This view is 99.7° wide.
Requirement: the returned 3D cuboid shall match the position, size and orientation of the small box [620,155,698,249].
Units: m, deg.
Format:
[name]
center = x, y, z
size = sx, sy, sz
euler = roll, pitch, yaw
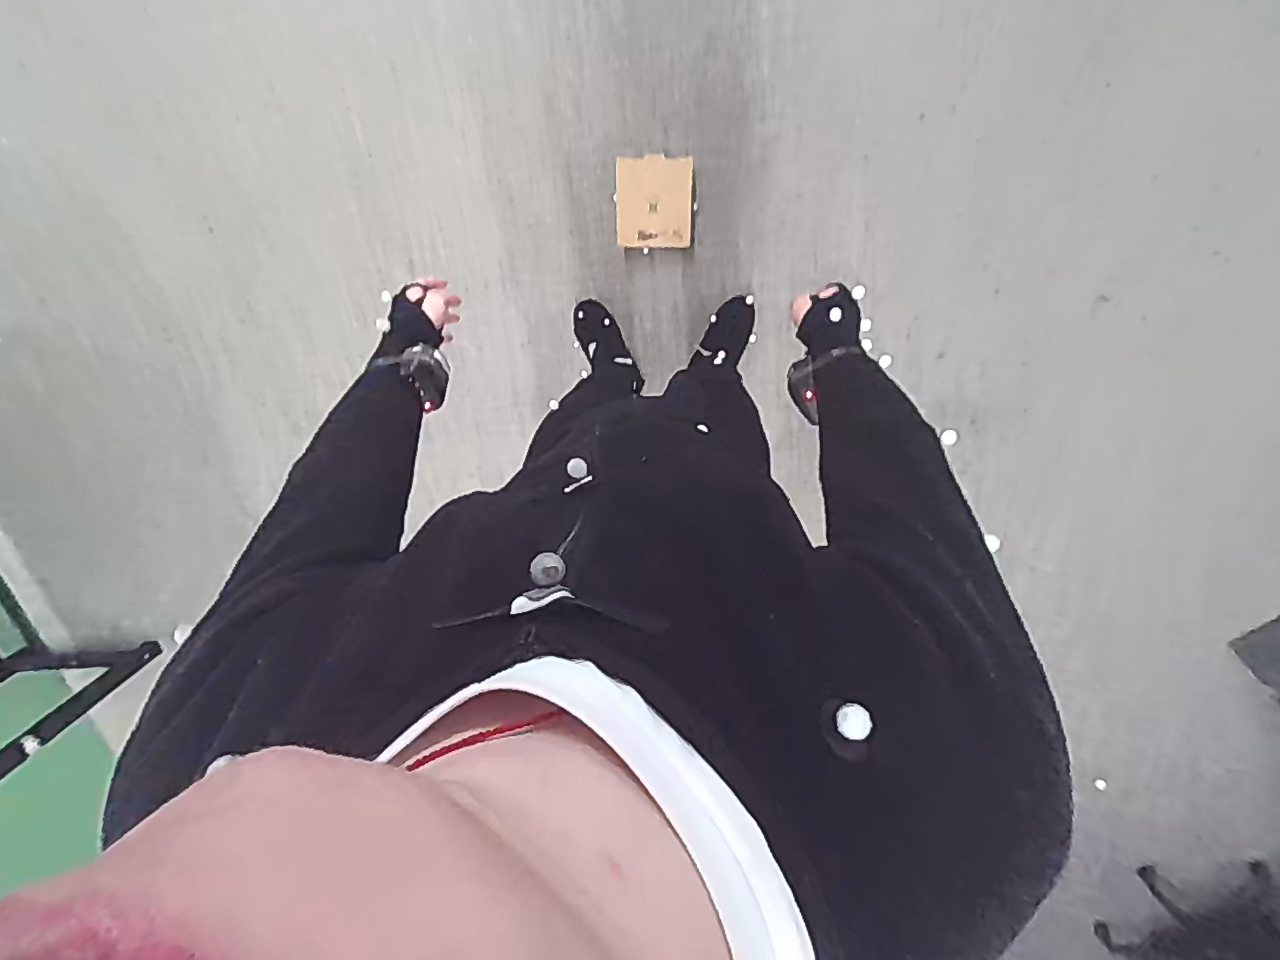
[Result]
[small box]
center = 0.042, -0.636, 1.251
size = 0.168, 0.176, 0.179
euler = 2, 112, 3
